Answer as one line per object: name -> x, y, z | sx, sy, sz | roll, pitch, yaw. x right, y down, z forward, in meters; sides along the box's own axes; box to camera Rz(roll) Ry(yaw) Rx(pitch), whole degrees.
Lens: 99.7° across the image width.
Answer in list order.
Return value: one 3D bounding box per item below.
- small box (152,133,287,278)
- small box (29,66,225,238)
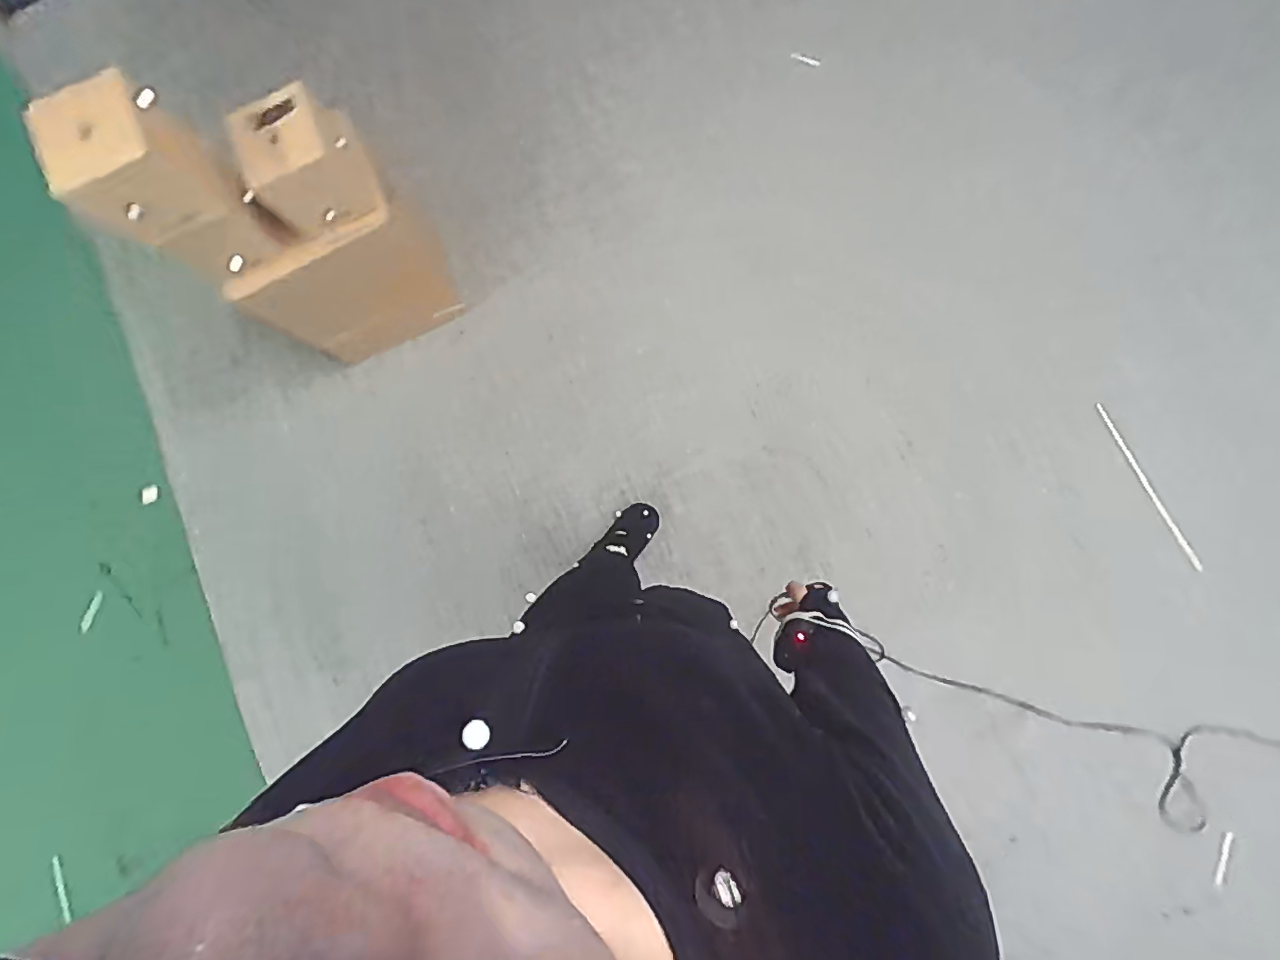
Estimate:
small box -> -0.886, -0.559, 1.122 | 0.168, 0.176, 0.179 | -24, 85, 1
small box -> -0.893, -0.563, 0.960 | 0.168, 0.176, 0.179 | -25, 84, 1
